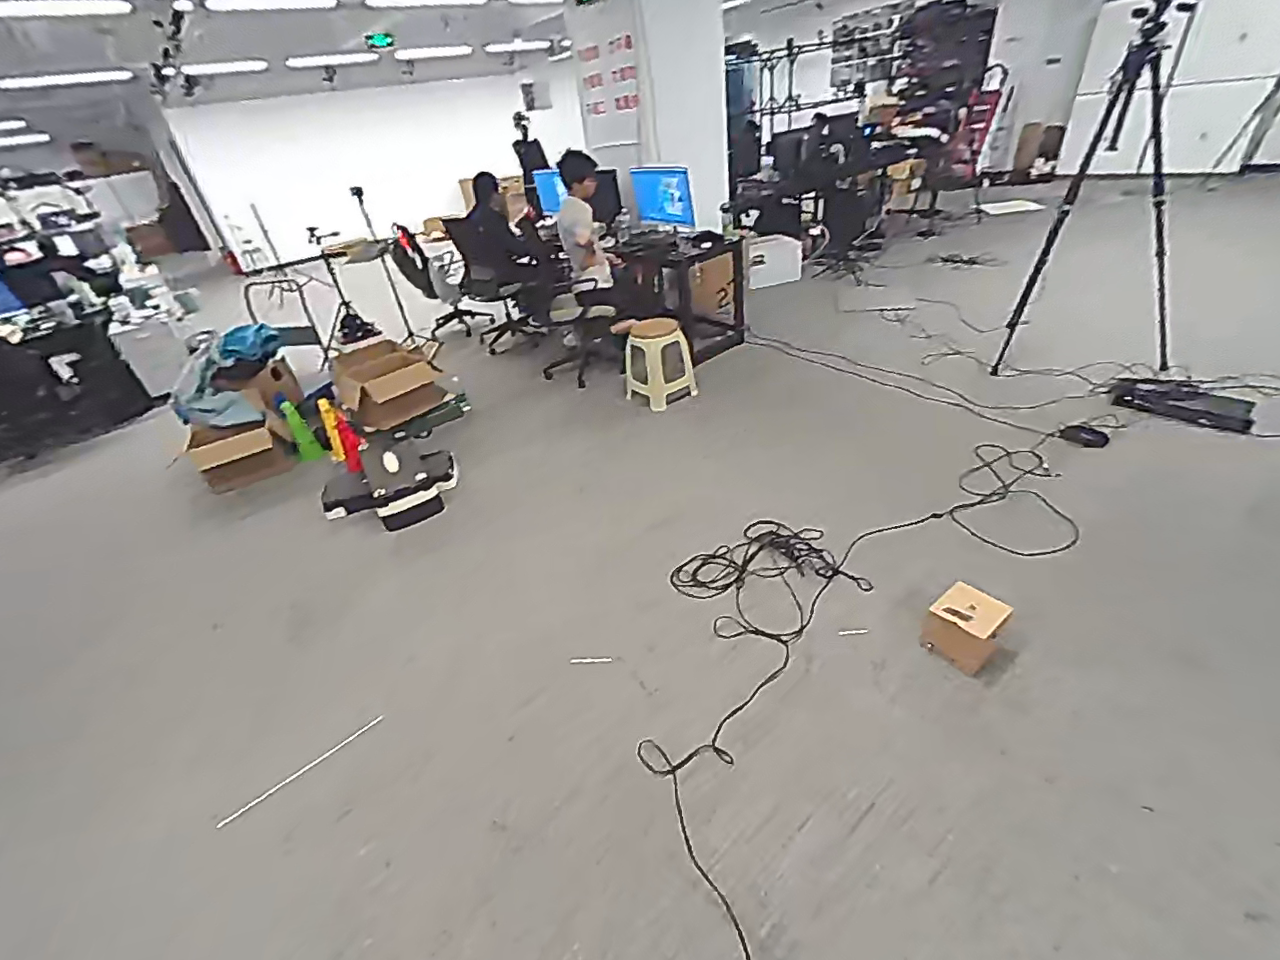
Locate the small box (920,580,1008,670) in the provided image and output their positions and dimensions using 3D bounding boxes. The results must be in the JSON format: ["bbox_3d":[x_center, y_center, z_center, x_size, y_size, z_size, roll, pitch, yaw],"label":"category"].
[{"bbox_3d":[0.996,0.451,1.675,0.179,0.176,0.168,-28,38,-26],"label":"small box"}]
